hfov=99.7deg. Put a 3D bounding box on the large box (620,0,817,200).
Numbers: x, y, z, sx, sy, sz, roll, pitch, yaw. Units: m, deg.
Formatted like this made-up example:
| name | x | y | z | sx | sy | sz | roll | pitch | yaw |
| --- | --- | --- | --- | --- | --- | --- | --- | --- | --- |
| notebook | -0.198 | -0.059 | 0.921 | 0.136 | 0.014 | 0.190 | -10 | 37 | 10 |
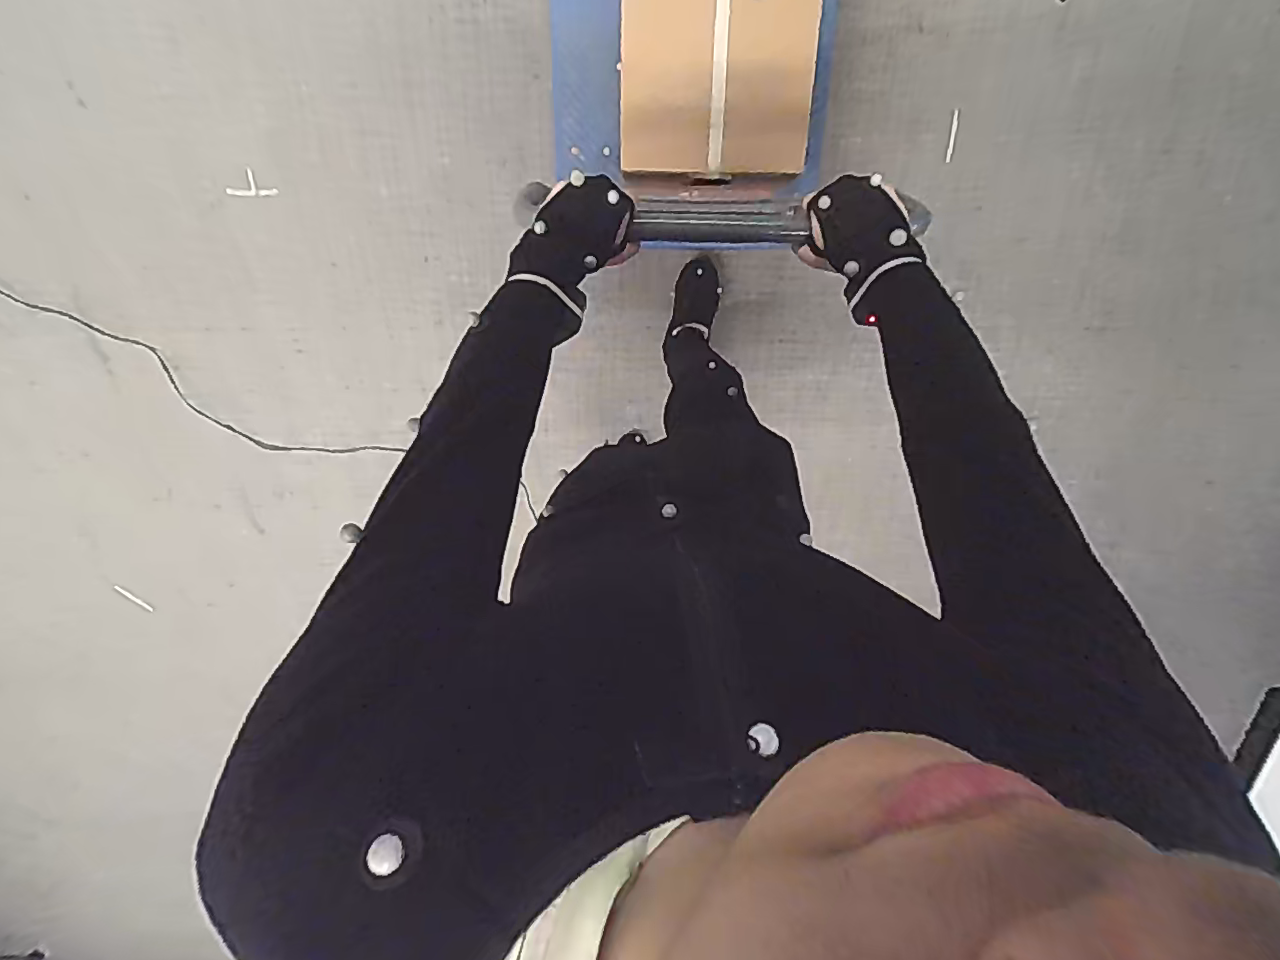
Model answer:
| name | x | y | z | sx | sy | sz | roll | pitch | yaw |
| --- | --- | --- | --- | --- | --- | --- | --- | --- | --- |
| large box | 0.127 | -0.763 | 0.997 | 0.320 | 0.320 | 0.408 | 1 | 109 | 0 |
